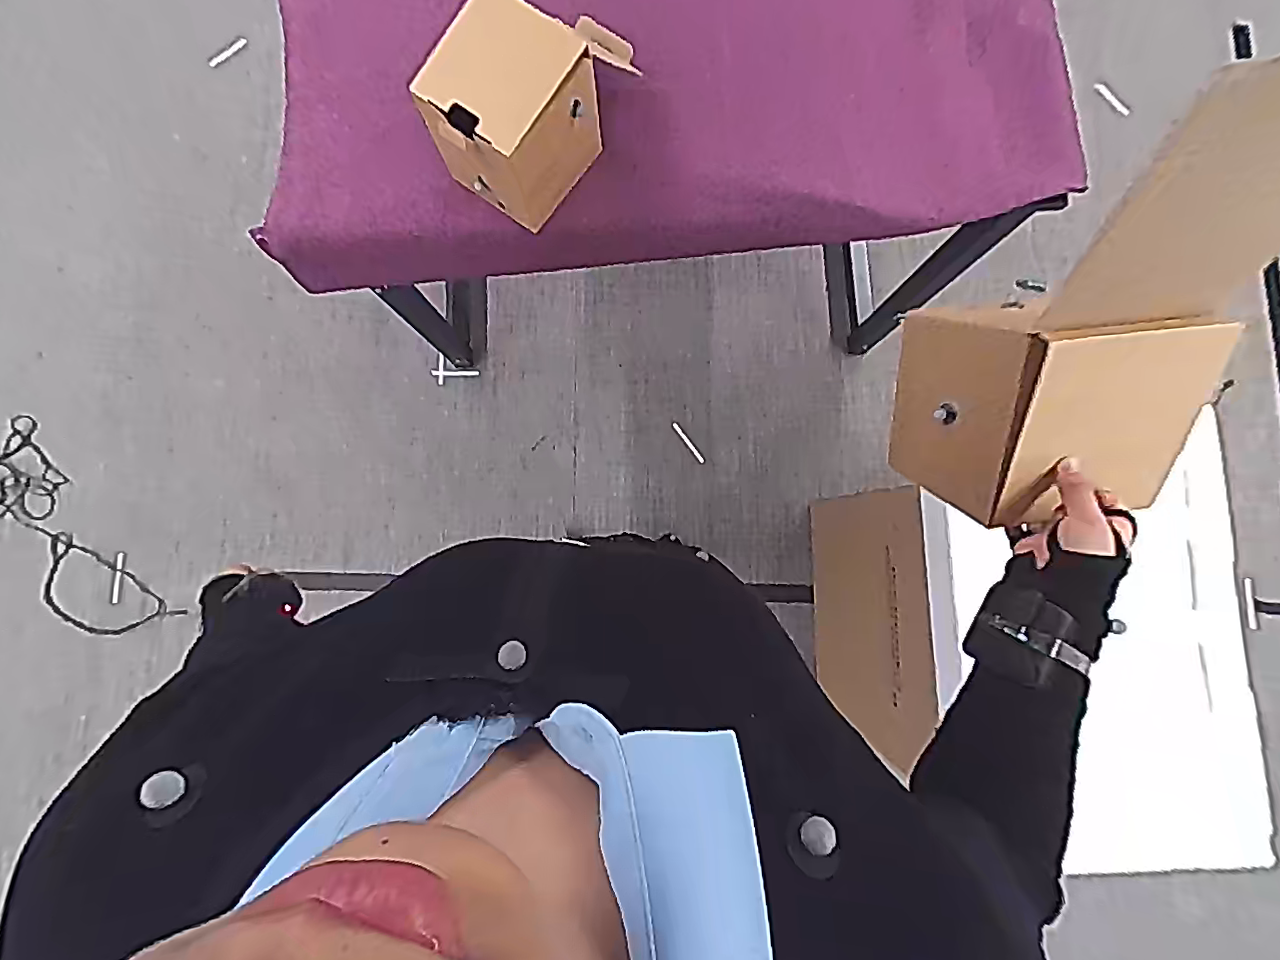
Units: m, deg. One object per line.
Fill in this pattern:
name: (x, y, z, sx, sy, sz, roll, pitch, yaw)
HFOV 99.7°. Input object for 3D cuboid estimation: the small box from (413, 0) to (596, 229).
small box: (-0.175, -0.505, 0.766, 0.168, 0.176, 0.179, 36, 84, 5)
